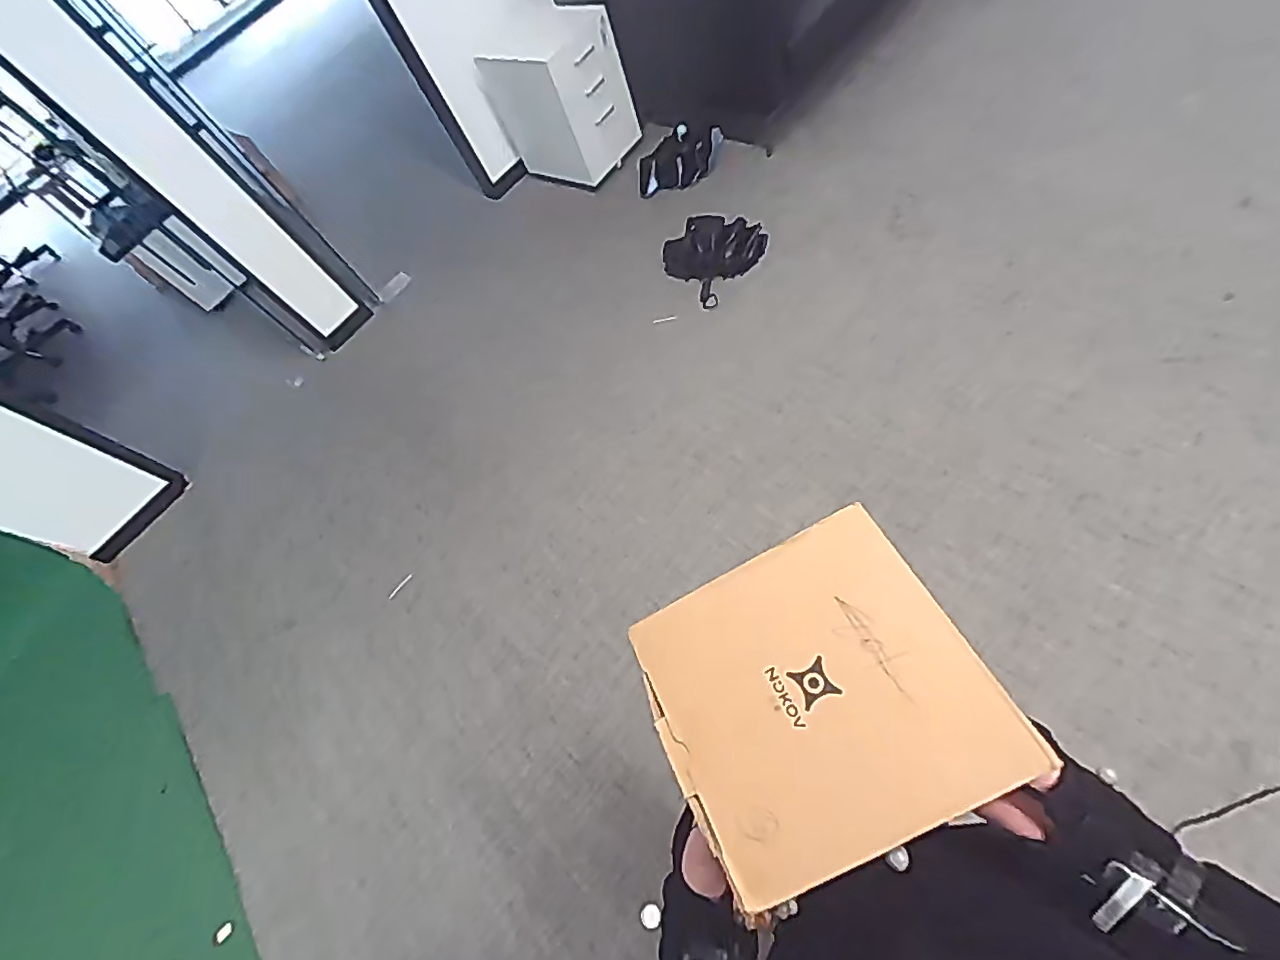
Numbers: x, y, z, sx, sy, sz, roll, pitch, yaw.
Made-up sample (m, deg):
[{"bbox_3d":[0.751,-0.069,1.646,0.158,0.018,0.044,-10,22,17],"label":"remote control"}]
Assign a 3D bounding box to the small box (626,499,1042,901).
[{"bbox_3d":[0.120,0.149,0.379,0.179,0.176,0.168,-30,59,4],"label":"small box"}]
